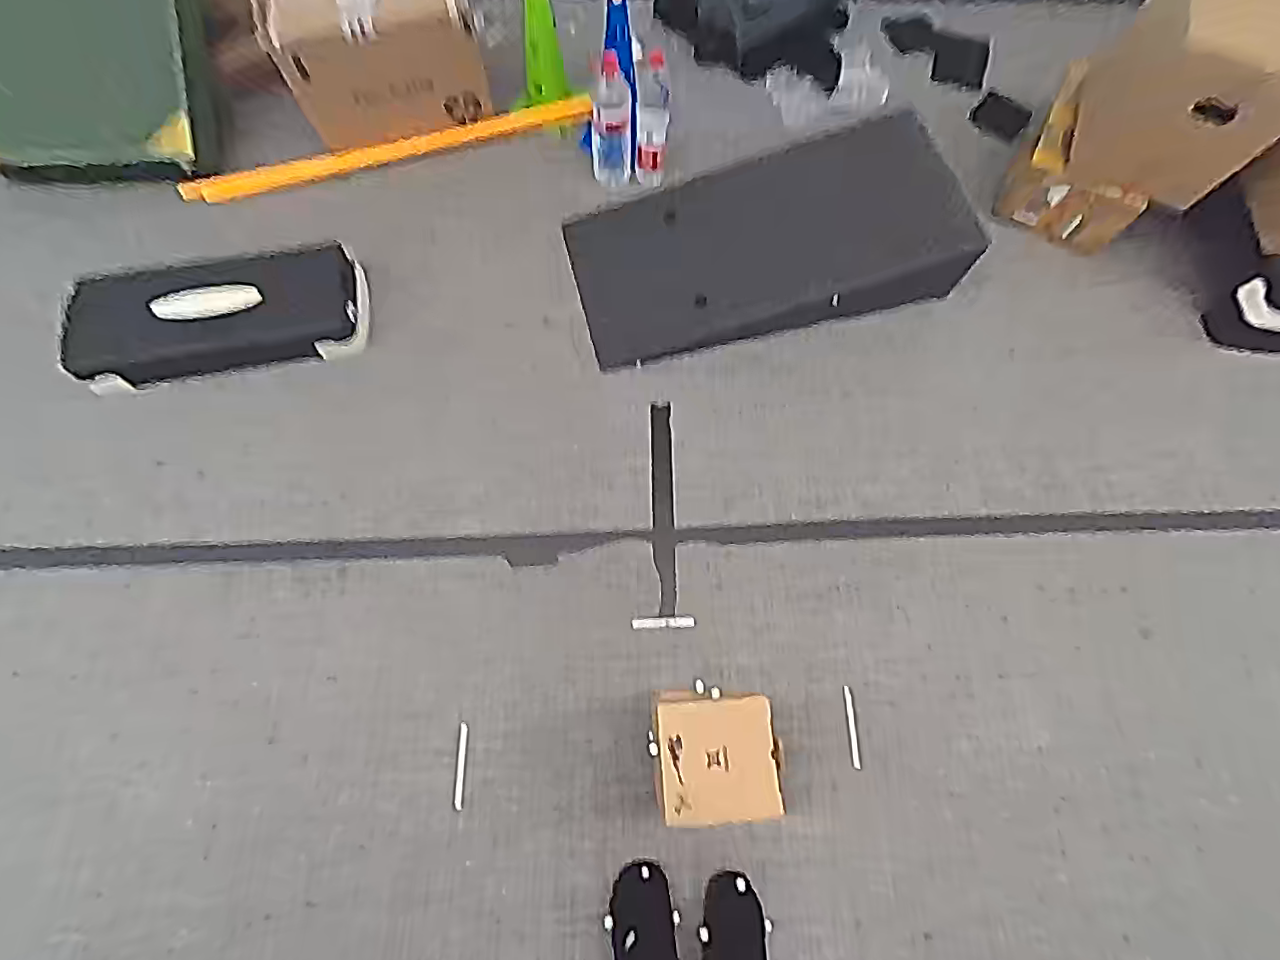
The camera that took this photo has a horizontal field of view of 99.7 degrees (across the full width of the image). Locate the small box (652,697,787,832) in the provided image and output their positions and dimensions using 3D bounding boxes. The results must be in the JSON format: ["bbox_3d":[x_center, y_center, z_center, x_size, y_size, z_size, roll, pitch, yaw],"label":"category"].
[{"bbox_3d":[0.117,0.445,0.870,0.179,0.176,0.168,-2,70,-4],"label":"small box"}]
